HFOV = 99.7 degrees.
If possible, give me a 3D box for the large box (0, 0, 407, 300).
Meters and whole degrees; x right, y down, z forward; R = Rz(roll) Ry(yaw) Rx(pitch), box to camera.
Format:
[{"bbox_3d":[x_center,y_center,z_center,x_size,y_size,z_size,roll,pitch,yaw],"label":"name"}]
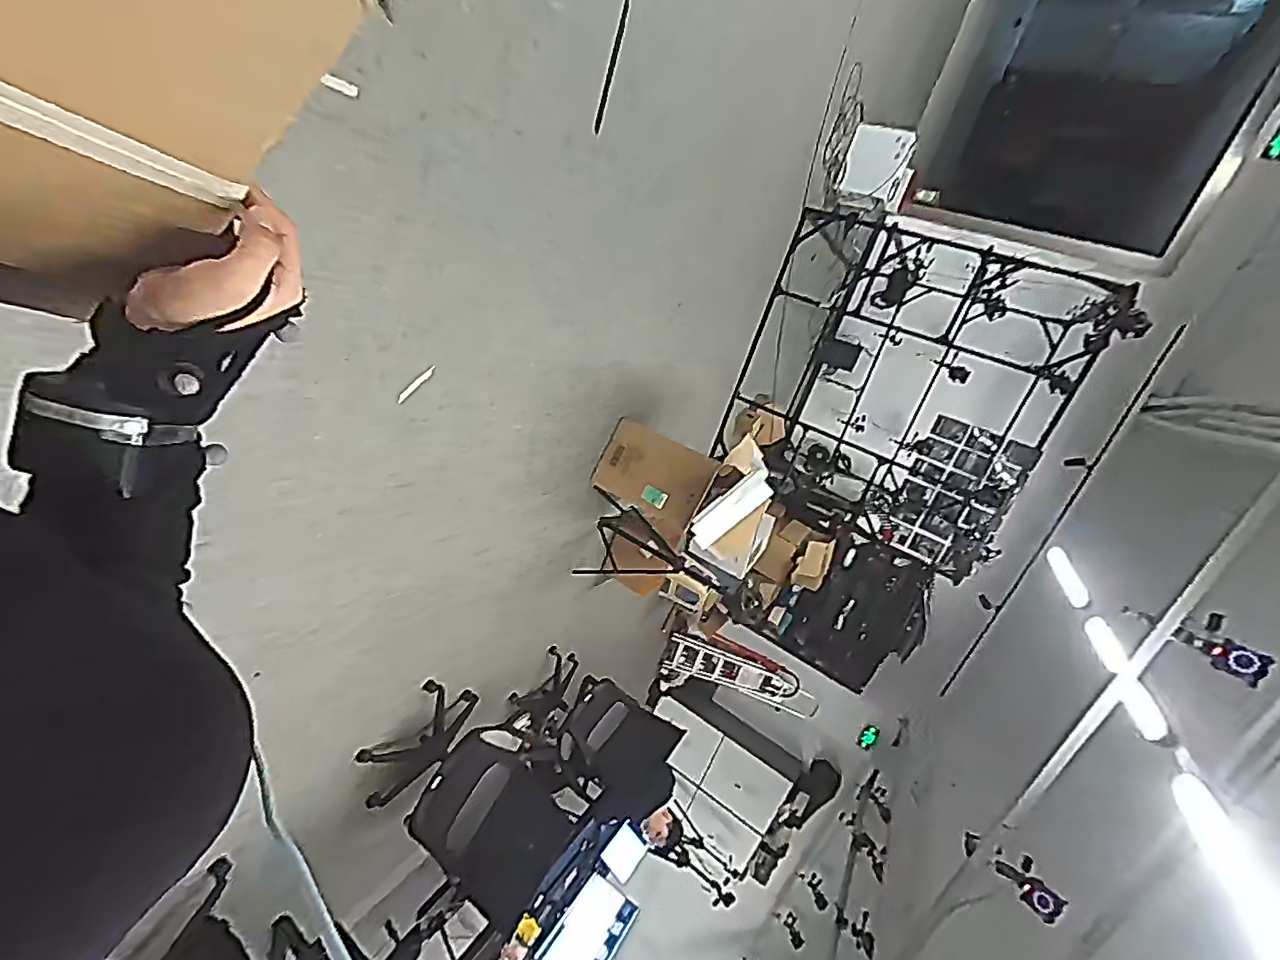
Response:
[{"bbox_3d":[-0.347,-0.326,0.168,0.320,0.320,0.408,-24,165,28],"label":"large box"}]
